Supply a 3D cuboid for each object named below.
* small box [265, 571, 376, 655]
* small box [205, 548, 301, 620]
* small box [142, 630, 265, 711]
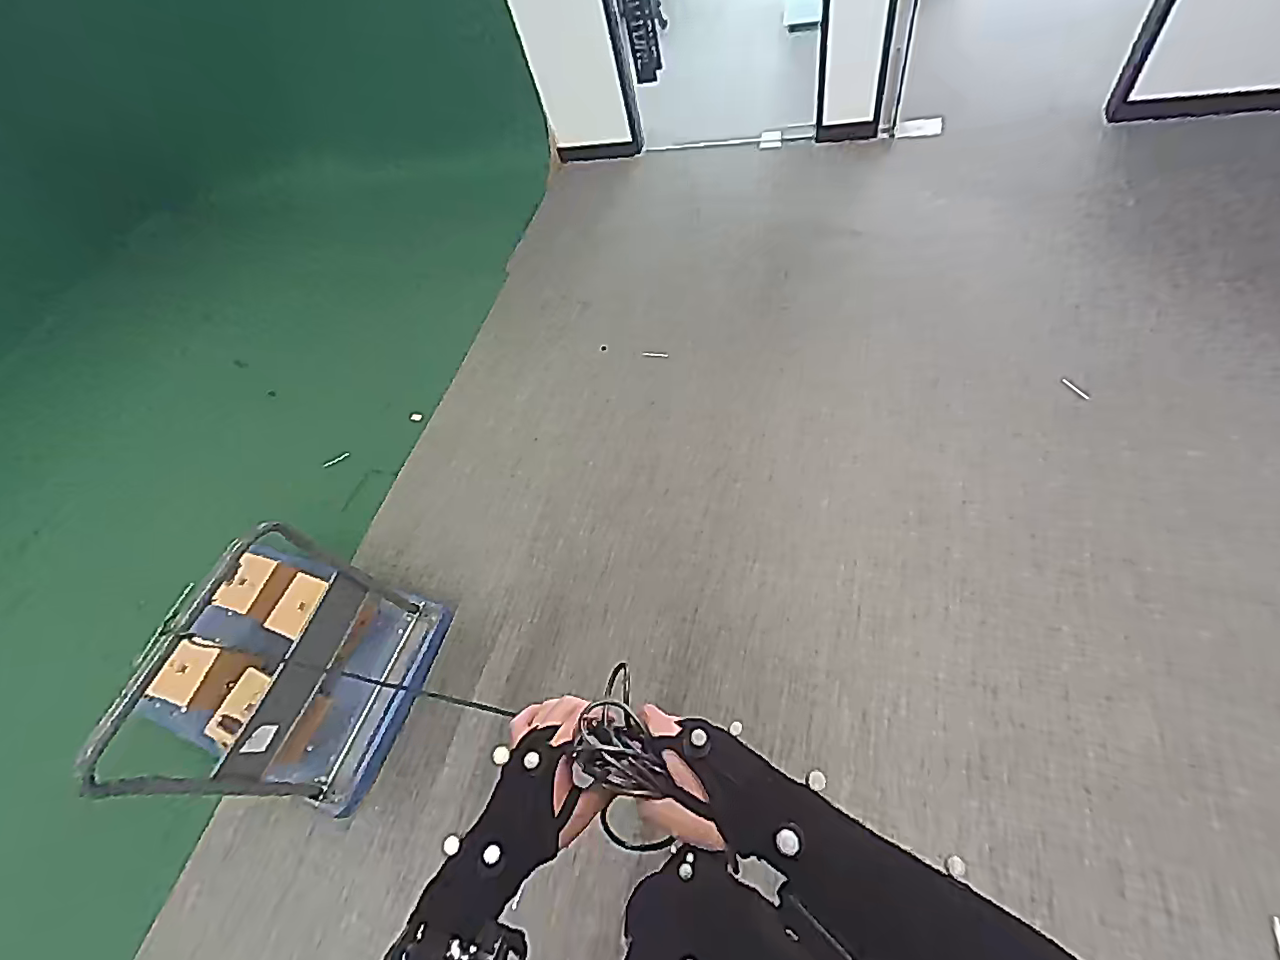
[{"bbox_3d":[-0.912,0.387,1.559,0.179,0.176,0.168,14,63,19],"label":"small box"},{"bbox_3d":[-1.147,0.328,1.646,0.179,0.176,0.168,11,63,18],"label":"small box"},{"bbox_3d":[-1.227,0.545,1.534,0.179,0.176,0.168,9,61,18],"label":"small box"}]
